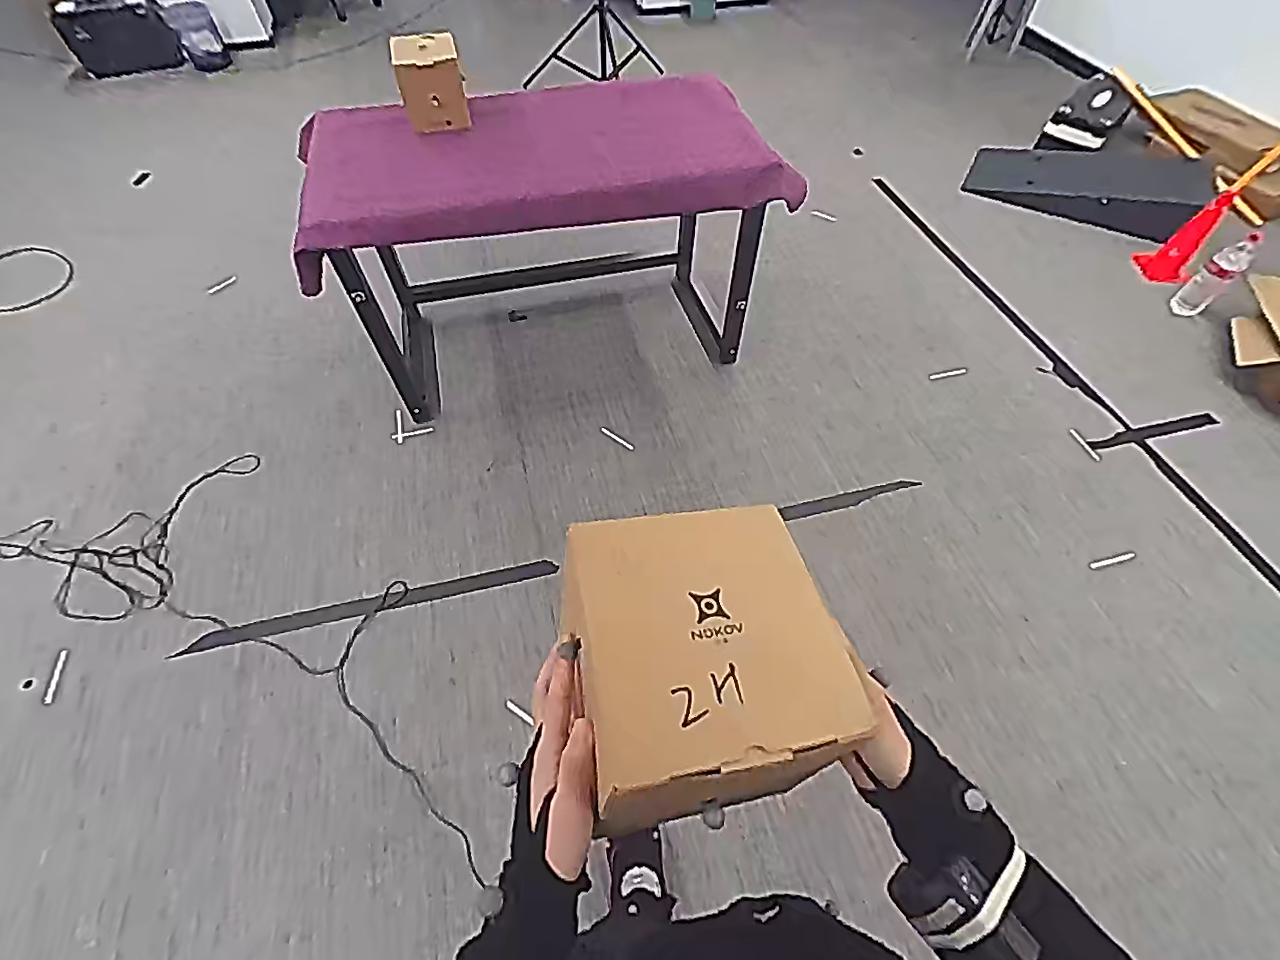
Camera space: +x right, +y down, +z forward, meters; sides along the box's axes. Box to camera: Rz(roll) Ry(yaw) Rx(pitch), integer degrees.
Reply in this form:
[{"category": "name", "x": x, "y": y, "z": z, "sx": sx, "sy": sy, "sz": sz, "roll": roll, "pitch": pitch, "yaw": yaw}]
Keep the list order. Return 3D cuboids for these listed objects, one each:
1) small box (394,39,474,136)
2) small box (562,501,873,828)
[{"category": "small box", "x": -0.569, "y": -1.084, "z": 1.503, "sx": 0.168, "sy": 0.176, "sz": 0.179, "roll": -13, "pitch": 59, "yaw": -9}, {"category": "small box", "x": 0.033, "y": 0.139, "z": 0.416, "sx": 0.168, "sy": 0.176, "sz": 0.179, "roll": -5, "pitch": 51, "yaw": -14}]
